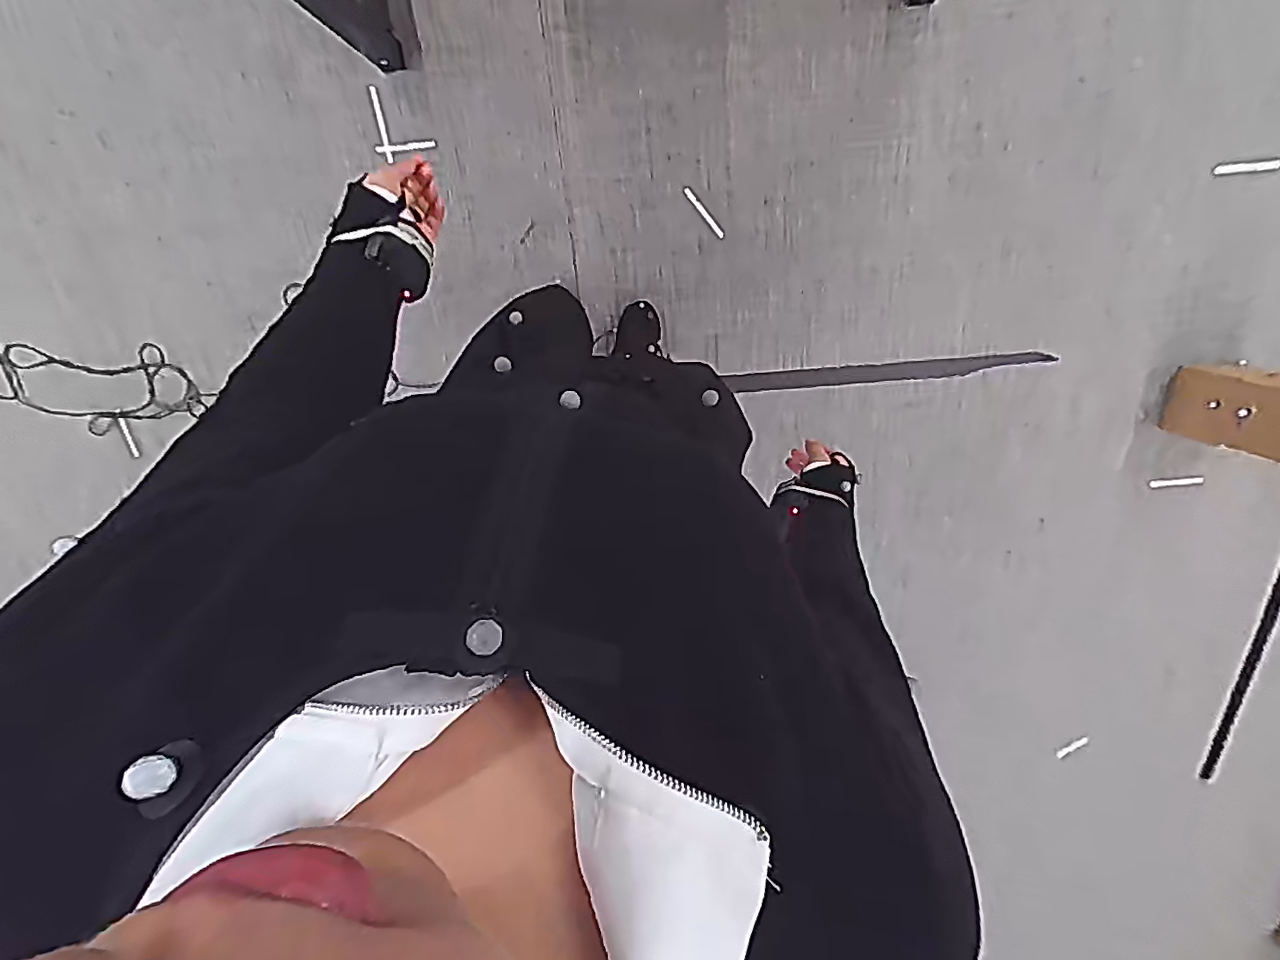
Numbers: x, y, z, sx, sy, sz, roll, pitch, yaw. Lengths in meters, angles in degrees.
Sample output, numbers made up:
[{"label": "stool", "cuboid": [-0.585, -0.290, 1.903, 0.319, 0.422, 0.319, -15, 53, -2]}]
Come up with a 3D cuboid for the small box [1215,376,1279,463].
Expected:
[{"label": "small box", "cuboid": [1.506, -0.146, 1.240, 0.179, 0.176, 0.168, -7, 110, 3]}]

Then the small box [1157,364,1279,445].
[{"label": "small box", "cuboid": [1.504, -0.200, 1.393, 0.168, 0.176, 0.179, -3, 112, 0]}]
